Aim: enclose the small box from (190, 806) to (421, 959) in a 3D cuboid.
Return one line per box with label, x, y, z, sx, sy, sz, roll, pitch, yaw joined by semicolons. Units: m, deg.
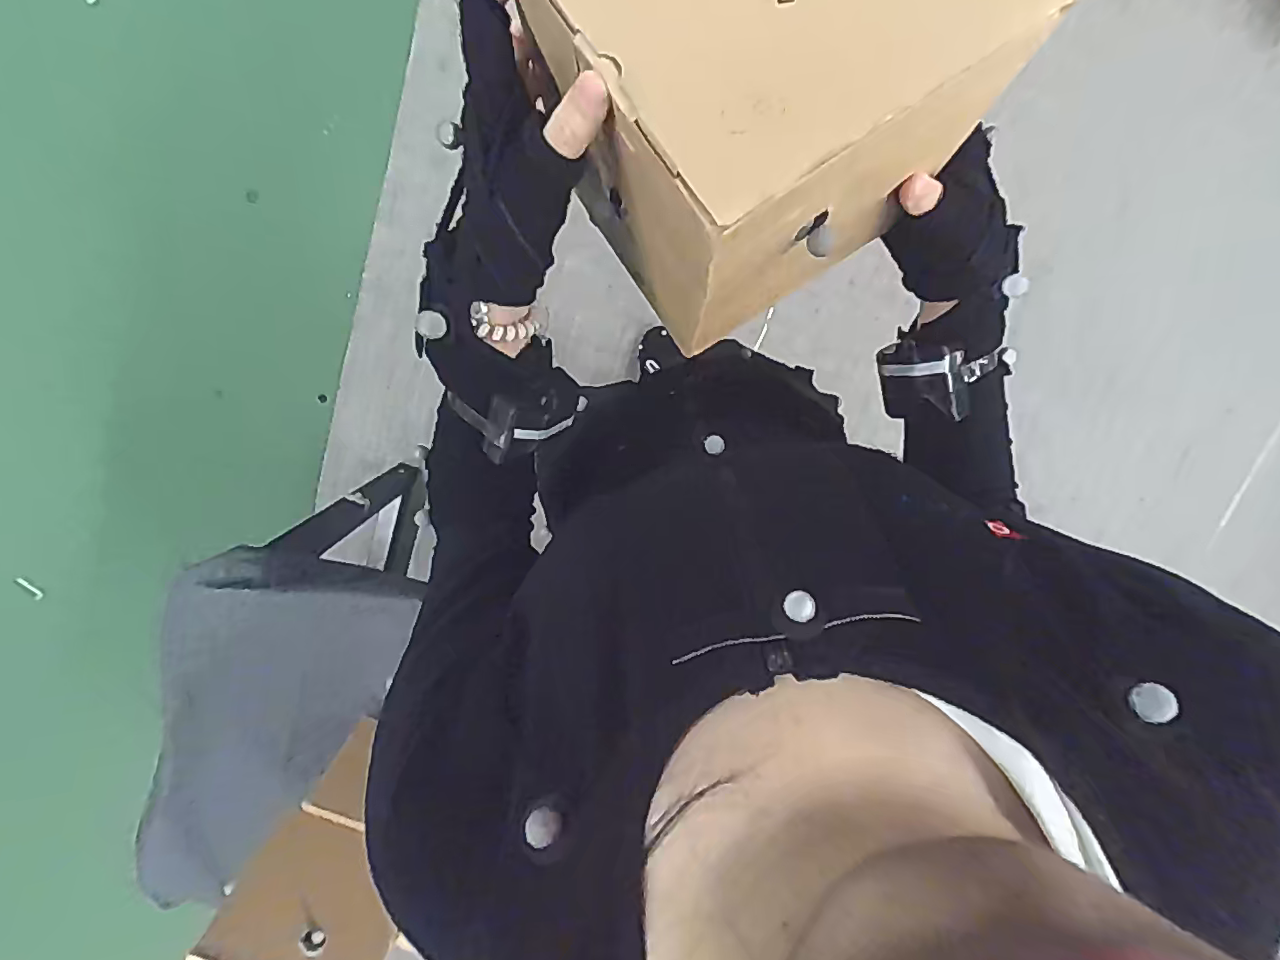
small box;-0.382;0.519;0.618;0.179;0.176;0.168;28;102;-8
